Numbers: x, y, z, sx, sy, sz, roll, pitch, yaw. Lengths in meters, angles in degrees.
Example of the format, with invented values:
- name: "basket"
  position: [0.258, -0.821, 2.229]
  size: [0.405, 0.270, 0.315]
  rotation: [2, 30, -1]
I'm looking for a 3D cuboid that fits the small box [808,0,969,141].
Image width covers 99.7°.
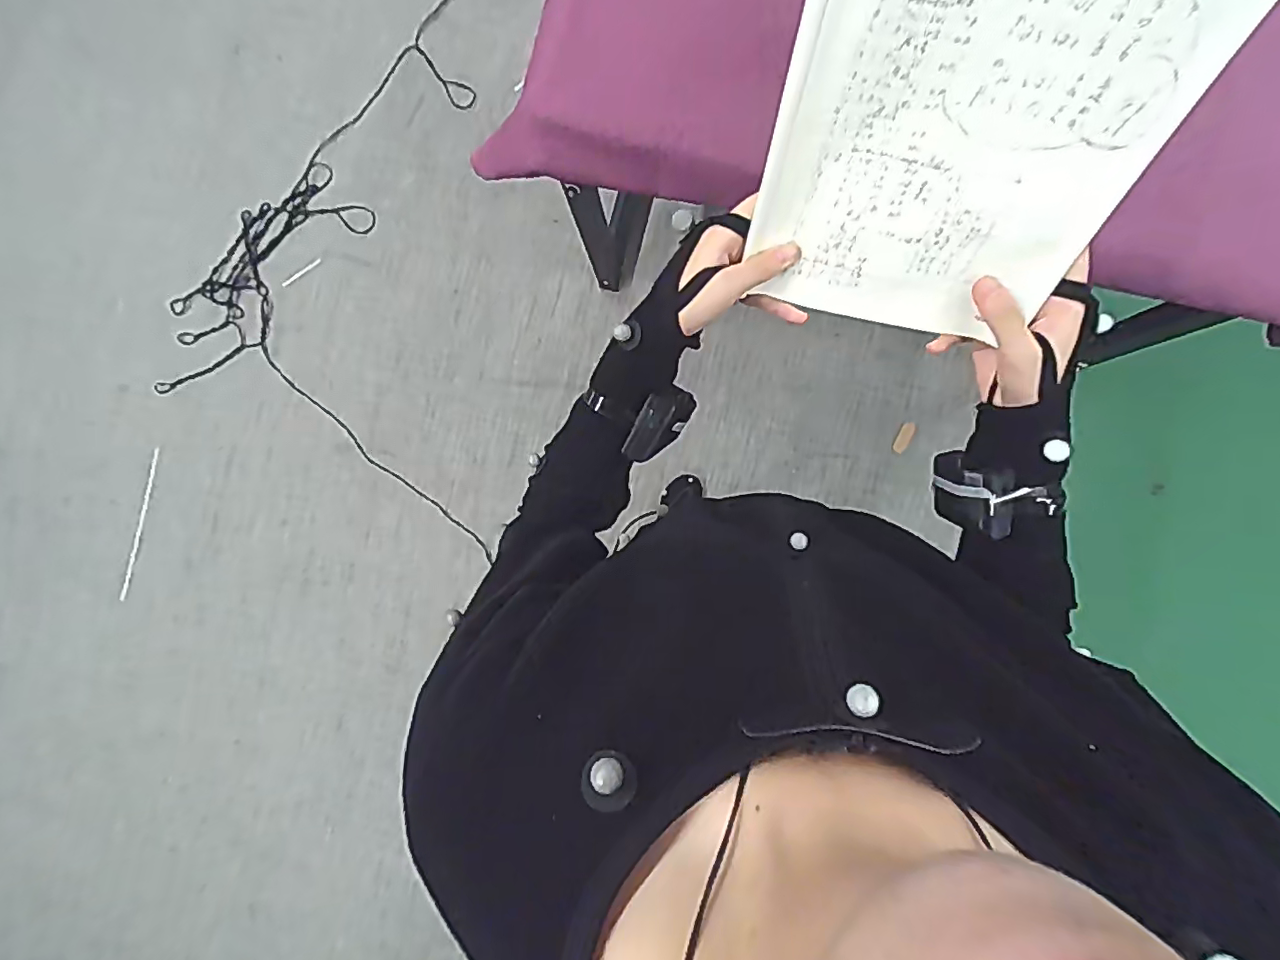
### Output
- name: "small box"
  position: [0.338, -0.598, 0.723]
  size: [0.168, 0.176, 0.179]
  rotation: [16, 89, 4]

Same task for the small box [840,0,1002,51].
- name: "small box"
  position: [0.324, -0.599, 0.558]
  size: [0.168, 0.176, 0.179]
  rotation: [16, 87, 5]
